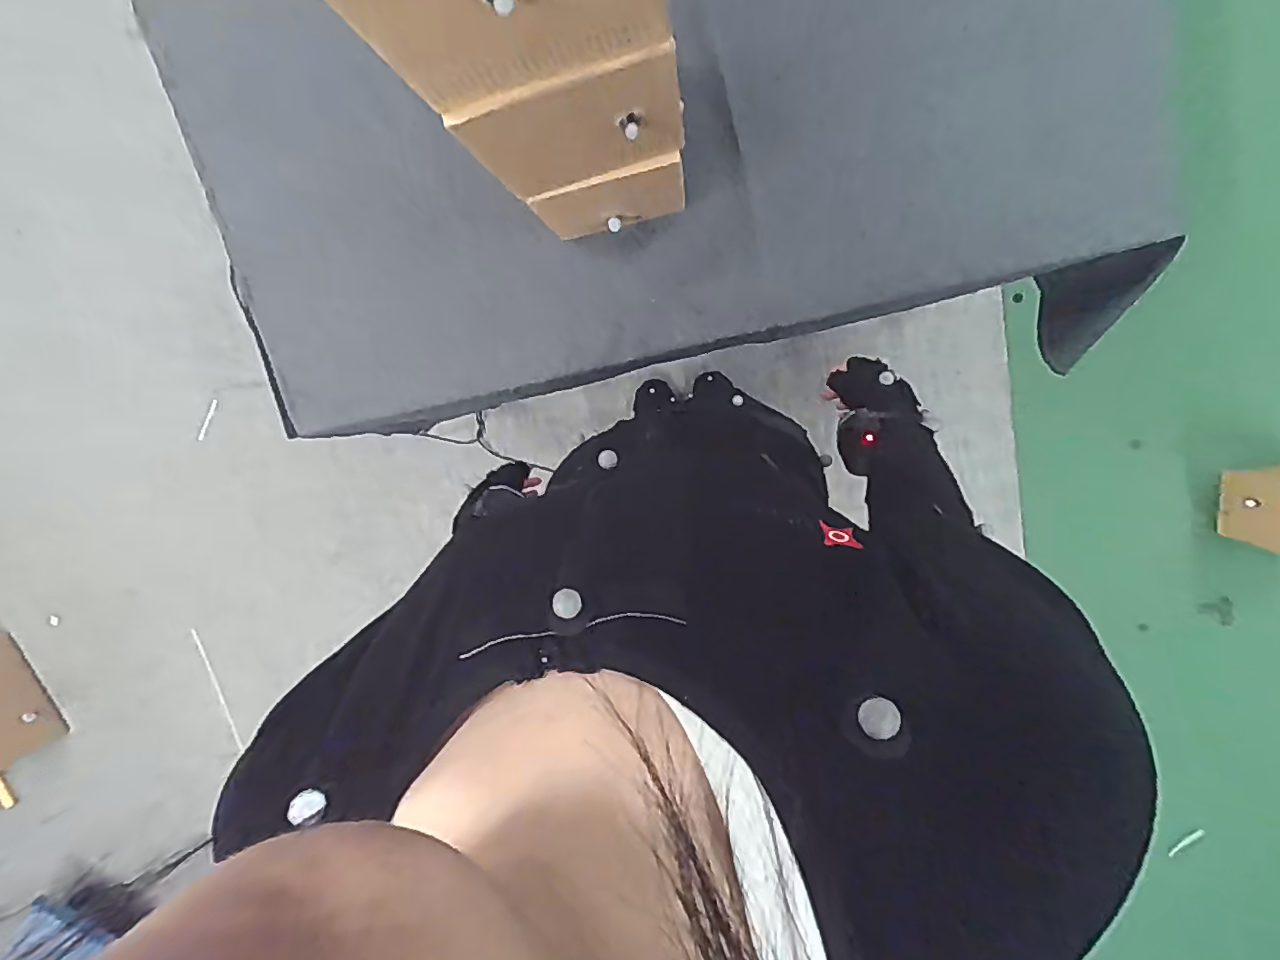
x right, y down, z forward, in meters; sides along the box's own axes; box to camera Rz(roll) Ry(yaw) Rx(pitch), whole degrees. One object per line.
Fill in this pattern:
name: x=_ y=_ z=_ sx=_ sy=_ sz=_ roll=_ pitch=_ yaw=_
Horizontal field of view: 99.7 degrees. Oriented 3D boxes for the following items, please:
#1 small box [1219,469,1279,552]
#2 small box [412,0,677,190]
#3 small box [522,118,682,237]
small box: x=1.530 y=0.069 z=1.270 sx=0.179 sy=0.176 sz=0.168 roll=-6 pitch=100 yaw=7
small box: x=-0.070 y=-0.372 z=0.446 sx=0.179 sy=0.176 sz=0.168 roll=-13 pitch=98 yaw=9
small box: x=-0.048 y=-0.399 z=0.606 sx=0.168 sy=0.176 sz=0.179 roll=-10 pitch=100 yaw=8
